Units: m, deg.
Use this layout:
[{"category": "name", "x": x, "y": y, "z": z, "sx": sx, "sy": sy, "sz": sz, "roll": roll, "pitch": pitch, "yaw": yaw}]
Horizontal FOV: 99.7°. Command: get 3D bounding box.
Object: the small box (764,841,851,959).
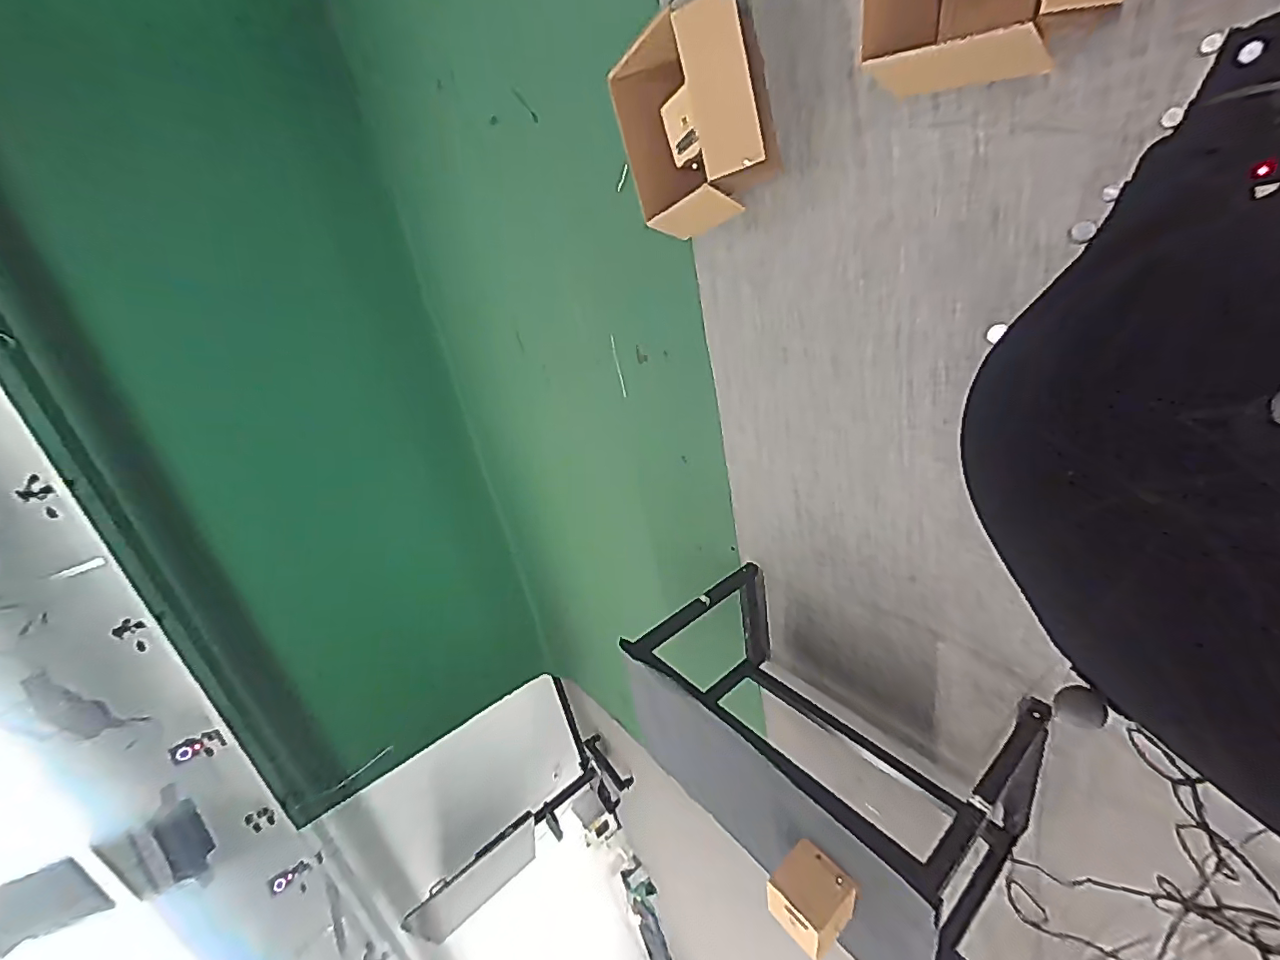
[{"category": "small box", "x": 0.457, "y": 1.146, "z": 1.479, "sx": 0.168, "sy": 0.176, "sz": 0.179, "roll": 26, "pitch": 134, "yaw": 46}]
